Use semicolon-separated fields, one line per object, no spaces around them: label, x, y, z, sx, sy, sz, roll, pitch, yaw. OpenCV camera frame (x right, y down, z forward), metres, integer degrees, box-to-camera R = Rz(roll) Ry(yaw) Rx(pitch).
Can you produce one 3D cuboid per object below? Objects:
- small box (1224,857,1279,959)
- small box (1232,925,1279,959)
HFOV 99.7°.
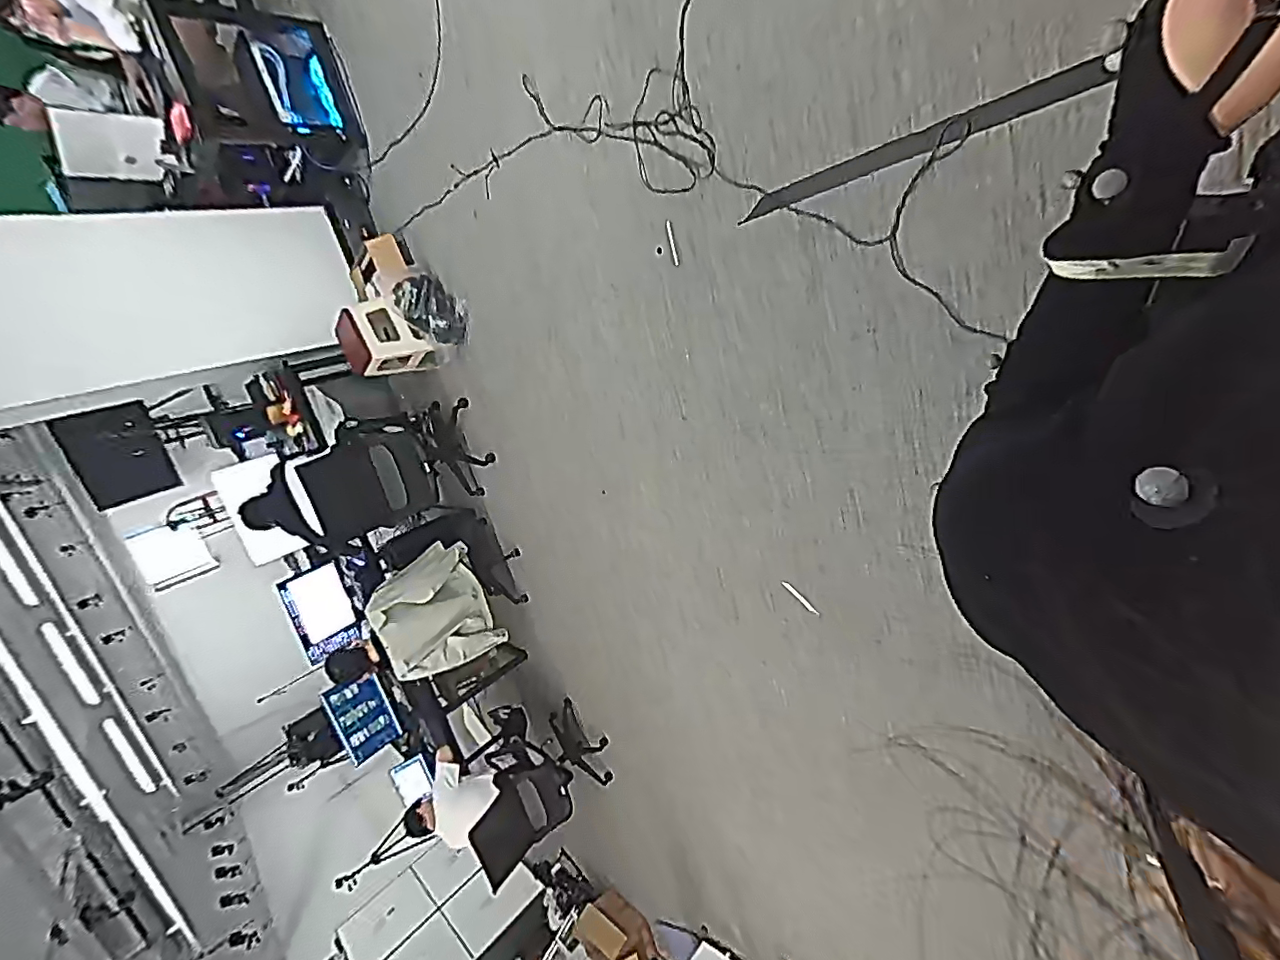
small box;1.183;0.836;0.973;0.179;0.176;0.168;0;110;48
small box;1.073;0.887;0.865;0.168;0.176;0.179;1;111;47
